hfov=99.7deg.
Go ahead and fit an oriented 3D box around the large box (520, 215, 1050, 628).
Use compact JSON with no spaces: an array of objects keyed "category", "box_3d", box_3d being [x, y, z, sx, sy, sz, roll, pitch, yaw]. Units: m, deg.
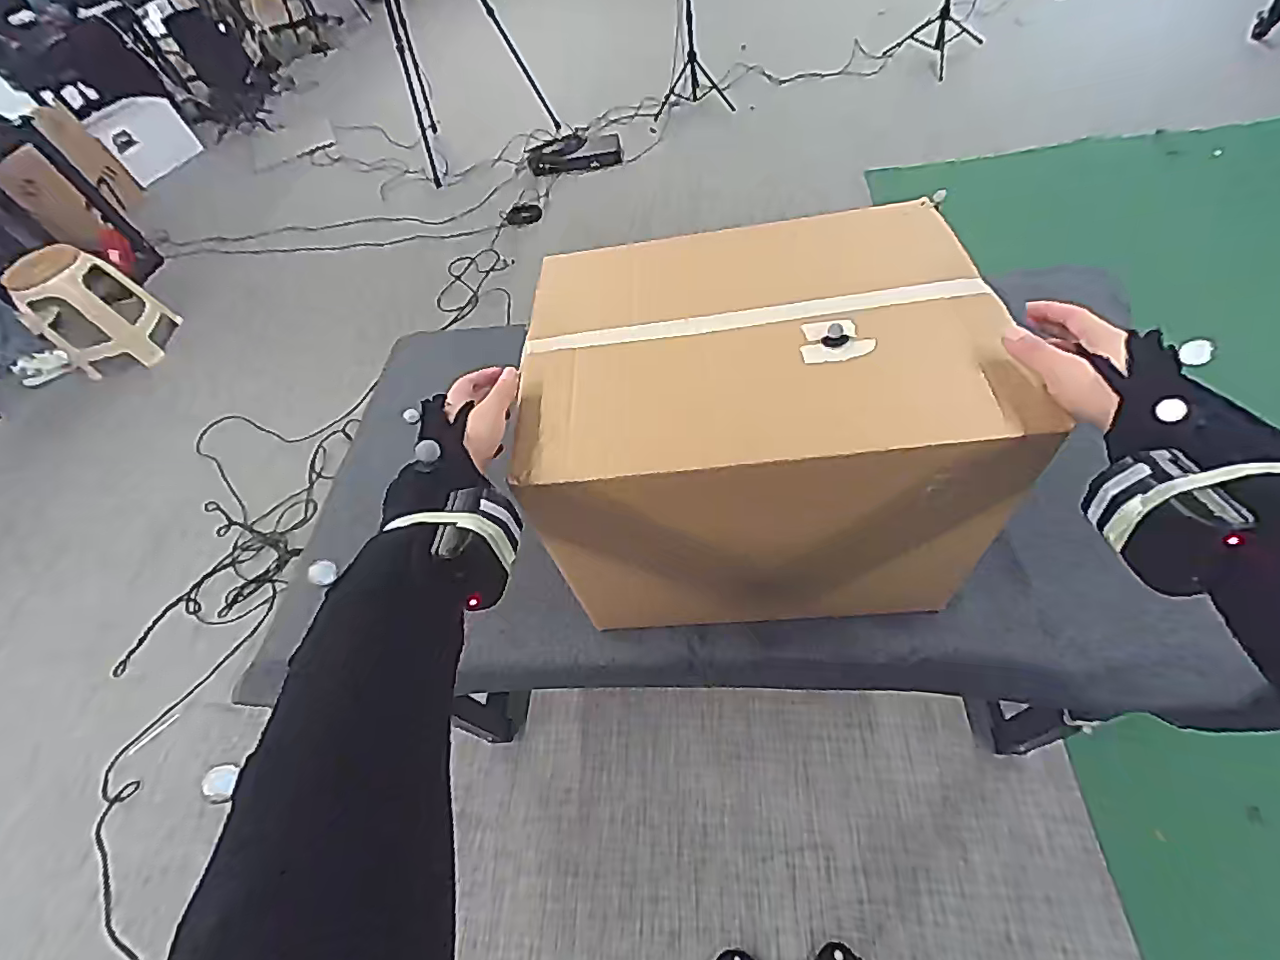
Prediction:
[{"category":"large box","box_3d":[0.116,-0.047,0.611,0.408,0.320,0.320,-6,53,6]}]
